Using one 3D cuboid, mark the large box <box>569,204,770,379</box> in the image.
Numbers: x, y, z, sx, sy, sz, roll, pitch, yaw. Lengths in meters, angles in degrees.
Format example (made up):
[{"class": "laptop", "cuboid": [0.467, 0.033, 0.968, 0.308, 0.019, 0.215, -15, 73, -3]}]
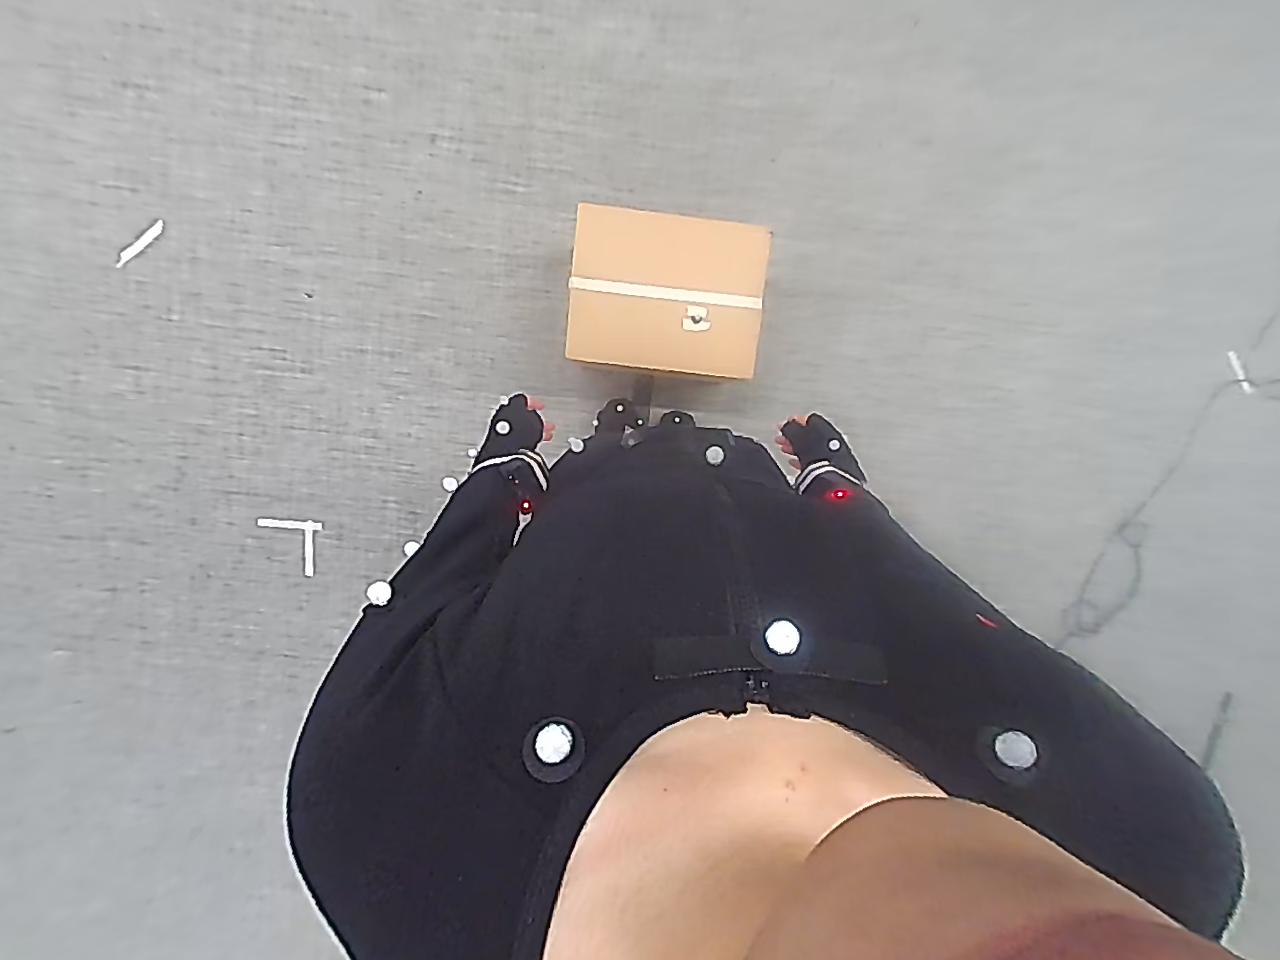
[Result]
[{"class": "large box", "cuboid": [0.052, -0.415, 1.273, 0.408, 0.320, 0.320, 5, 99, -3]}]
